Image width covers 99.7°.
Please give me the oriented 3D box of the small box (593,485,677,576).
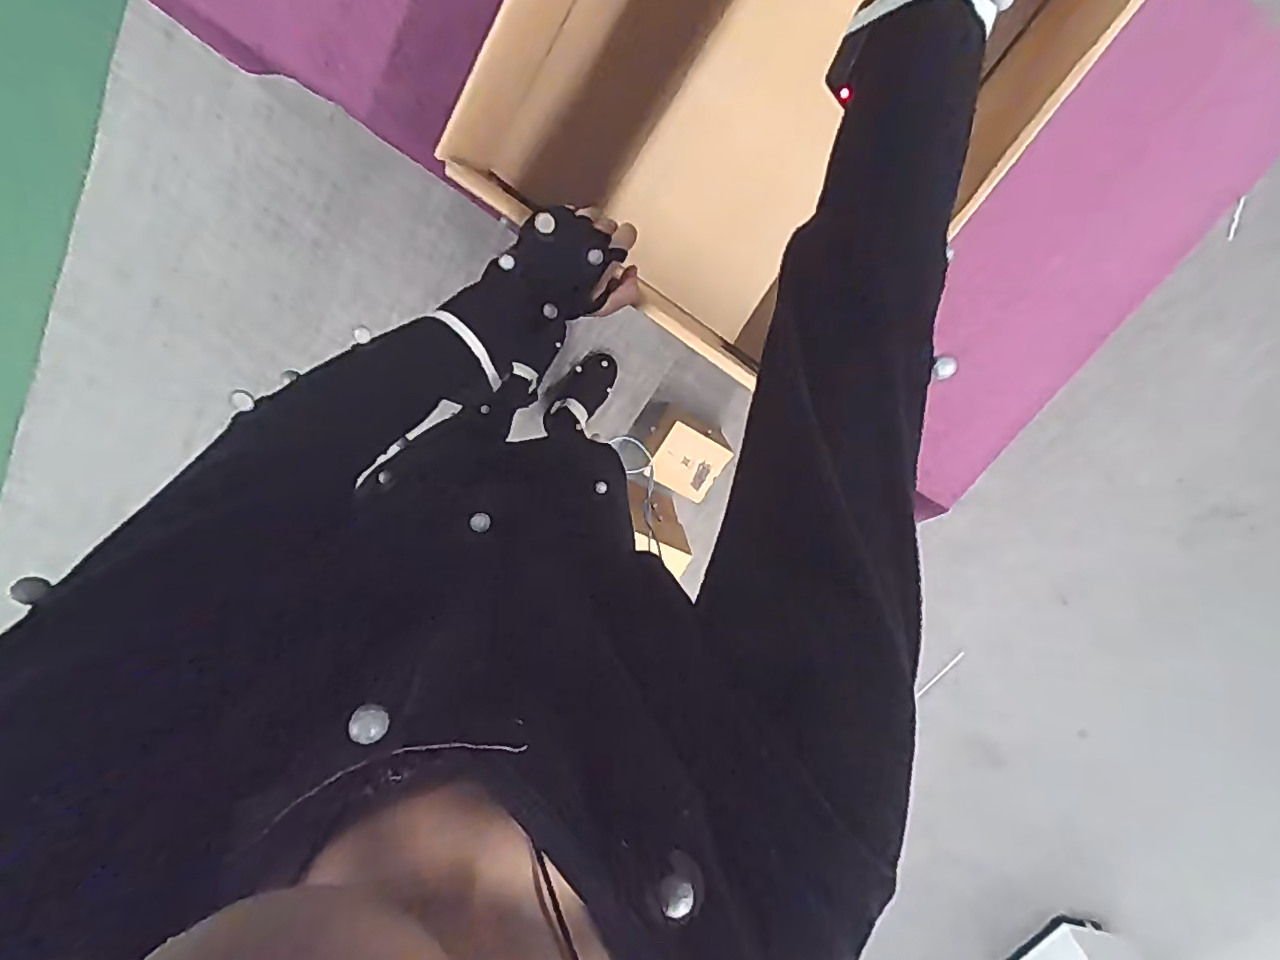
[{"bbox_3d":[-0.021,0.132,1.513,0.179,0.176,0.168,25,109,-14],"label":"small box"}]
